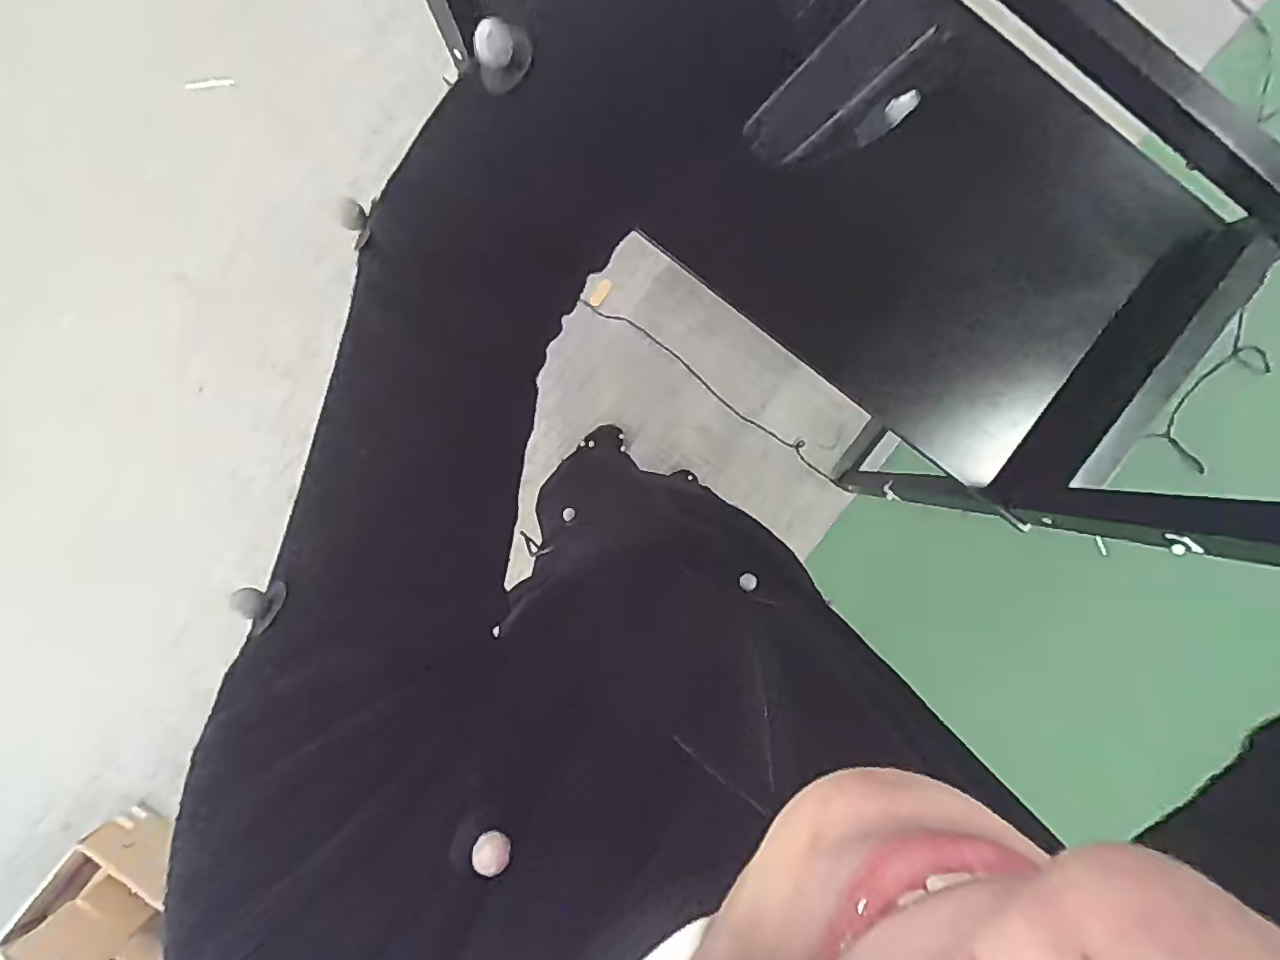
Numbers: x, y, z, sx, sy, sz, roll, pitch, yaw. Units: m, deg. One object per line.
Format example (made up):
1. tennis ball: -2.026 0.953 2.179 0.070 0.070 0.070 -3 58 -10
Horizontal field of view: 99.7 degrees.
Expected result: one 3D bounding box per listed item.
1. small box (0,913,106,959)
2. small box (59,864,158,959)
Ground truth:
1. small box: -1.498 1.232 1.330 0.179 0.176 0.168 37 90 -2
2. small box: -1.502 1.225 1.495 0.168 0.176 0.179 42 91 -3
